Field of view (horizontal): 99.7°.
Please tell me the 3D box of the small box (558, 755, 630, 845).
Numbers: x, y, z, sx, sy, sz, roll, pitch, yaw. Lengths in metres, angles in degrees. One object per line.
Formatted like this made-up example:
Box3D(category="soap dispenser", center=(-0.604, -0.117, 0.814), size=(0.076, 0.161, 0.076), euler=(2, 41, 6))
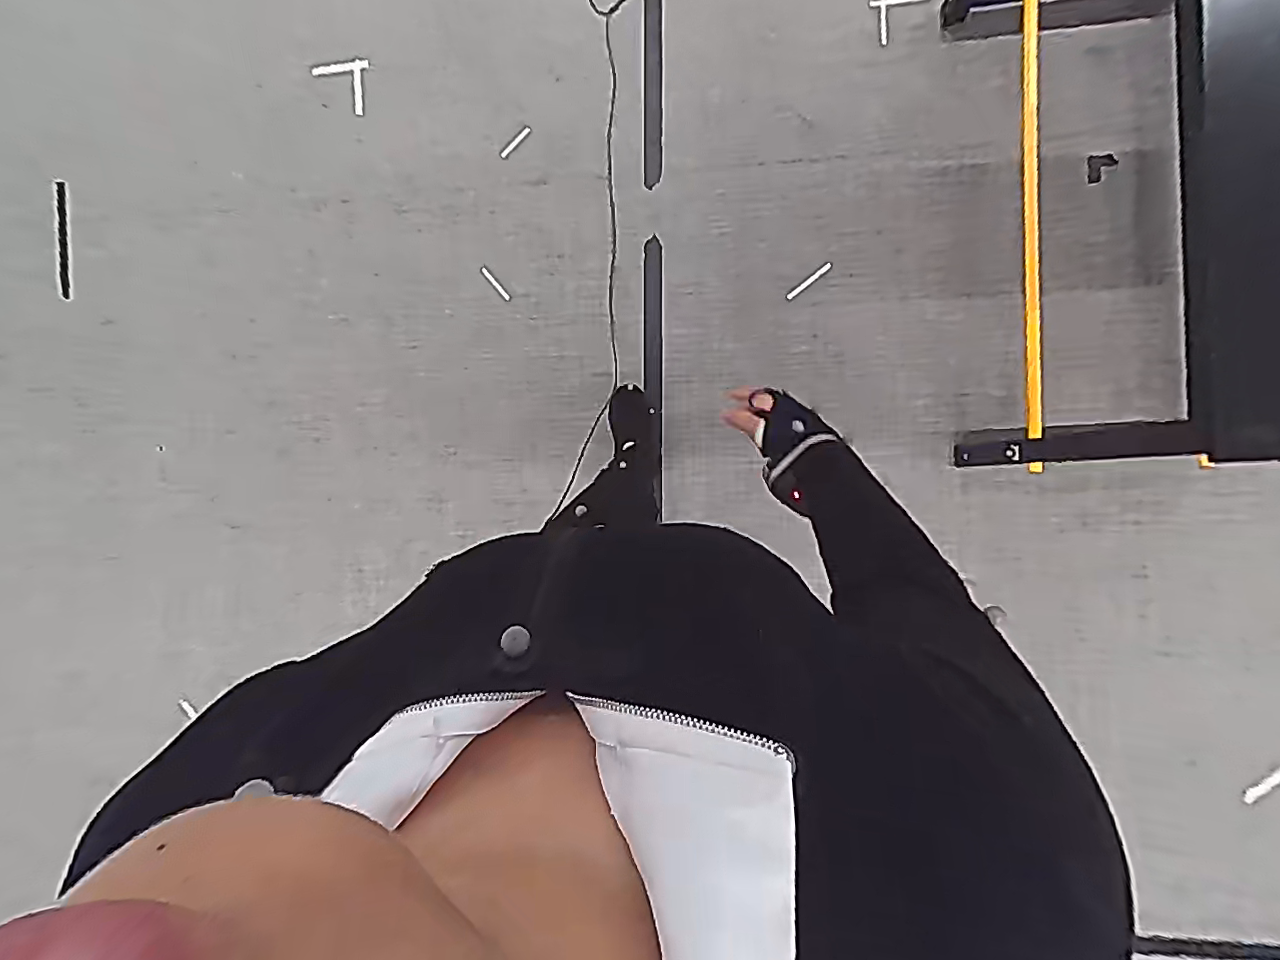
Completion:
Box3D(category="small box", center=(-0.119, 0.850, 1.421), size=(0.168, 0.176, 0.179), euler=(1, 89, 7))
